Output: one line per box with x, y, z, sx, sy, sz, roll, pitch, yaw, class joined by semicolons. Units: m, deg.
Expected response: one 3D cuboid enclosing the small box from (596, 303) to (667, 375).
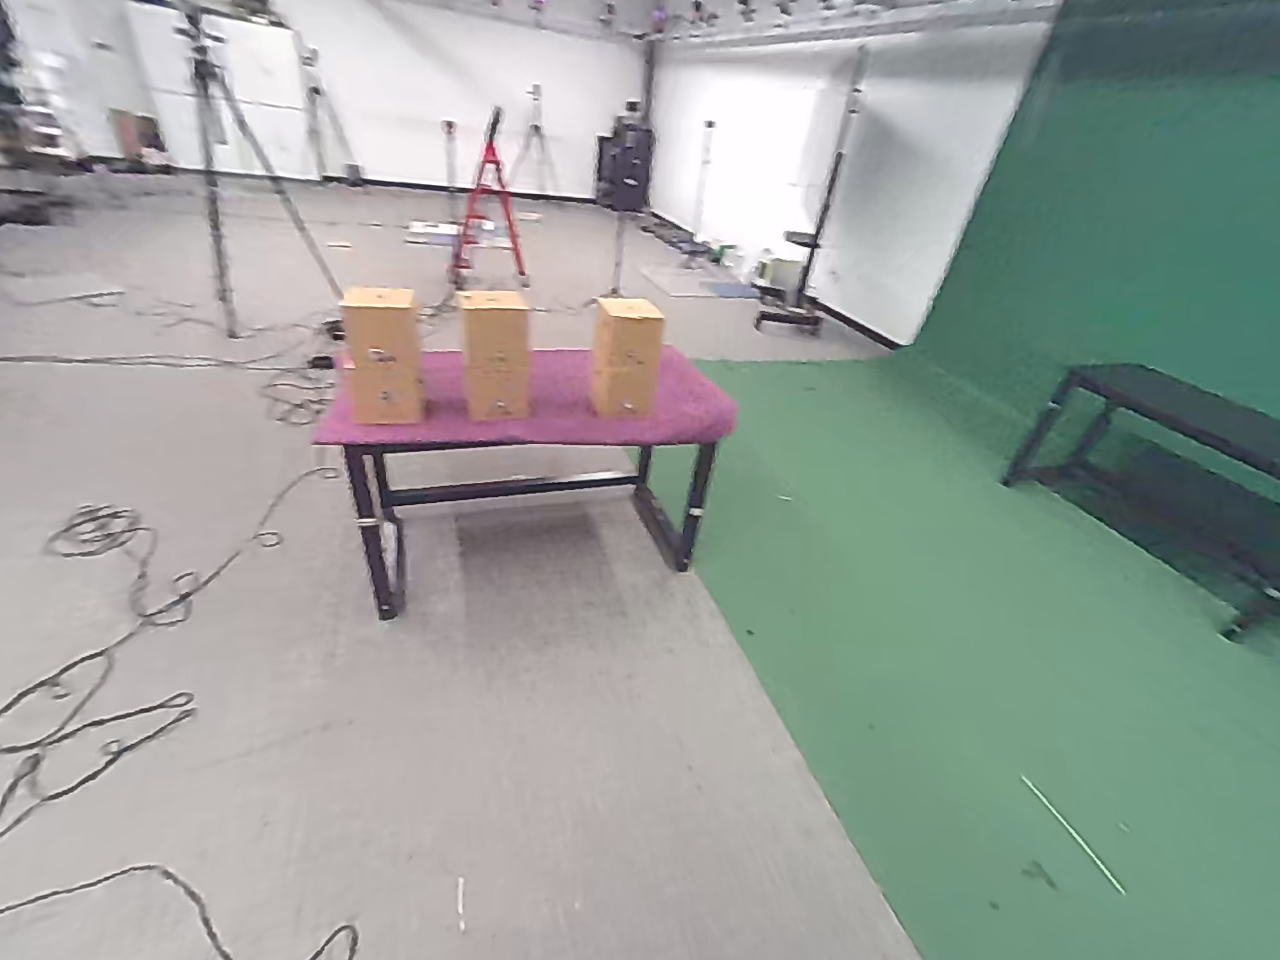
-0.033;-0.434;1.670;0.168;0.176;0.179;-5;36;-20;small box

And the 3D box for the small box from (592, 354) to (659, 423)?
-0.053;-0.297;1.755;0.168;0.176;0.179;-5;36;-19;small box

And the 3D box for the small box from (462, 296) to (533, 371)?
-0.413;-0.419;1.554;0.179;0.176;0.168;-5;34;-22;small box

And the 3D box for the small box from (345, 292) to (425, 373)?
-0.682;-0.400;1.464;0.168;0.176;0.179;-4;35;-17;small box

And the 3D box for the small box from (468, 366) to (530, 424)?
-0.432;-0.284;1.644;0.168;0.176;0.179;-6;36;-21;small box
